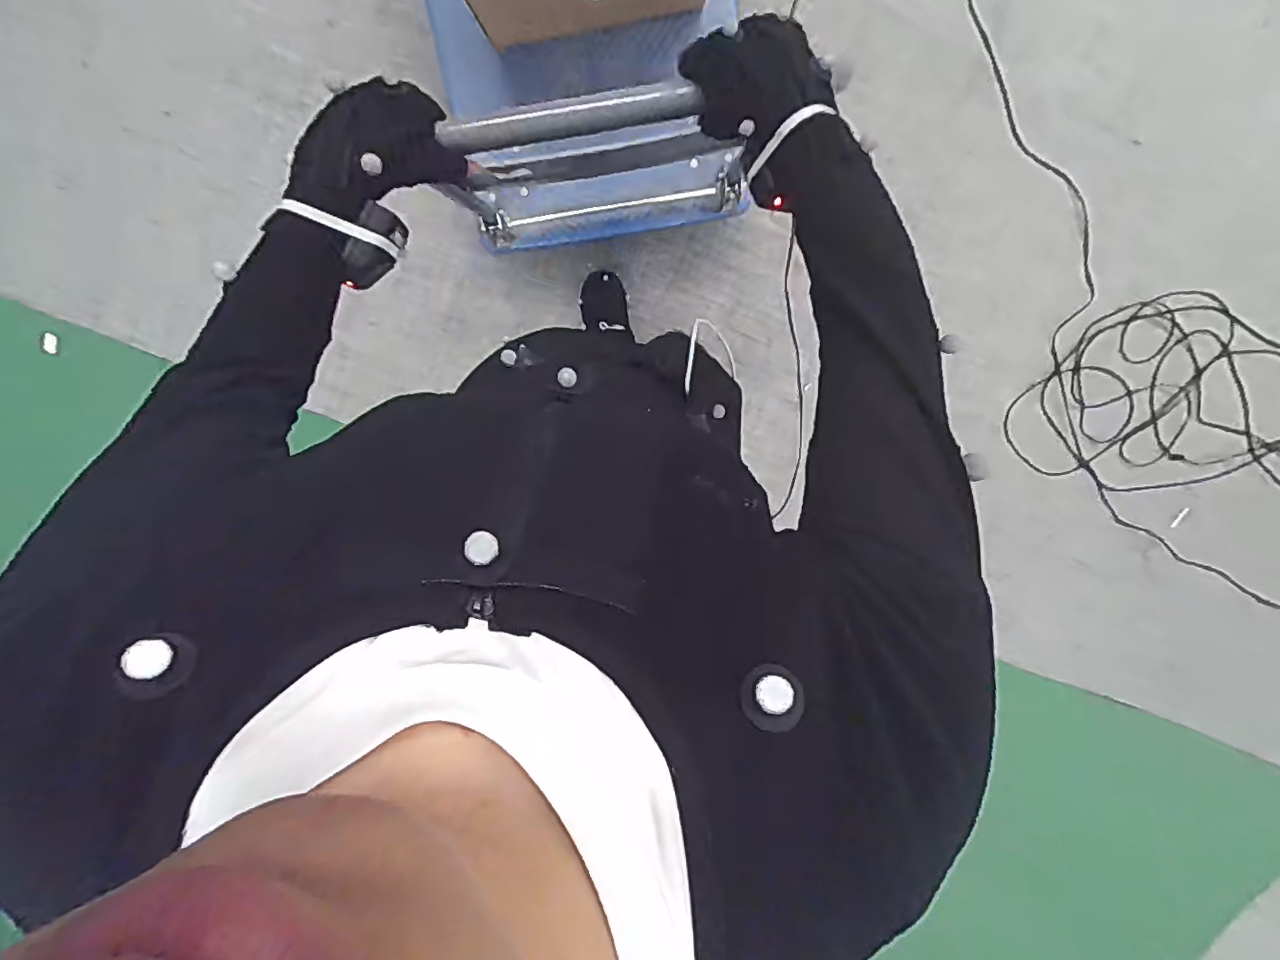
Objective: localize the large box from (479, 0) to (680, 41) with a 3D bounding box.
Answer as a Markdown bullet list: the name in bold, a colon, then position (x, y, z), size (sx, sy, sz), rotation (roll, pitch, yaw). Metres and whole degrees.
- **large box**: position (-0.092, -0.956, 0.830), size (0.408, 0.320, 0.320), rotation (-10, 110, 4)
